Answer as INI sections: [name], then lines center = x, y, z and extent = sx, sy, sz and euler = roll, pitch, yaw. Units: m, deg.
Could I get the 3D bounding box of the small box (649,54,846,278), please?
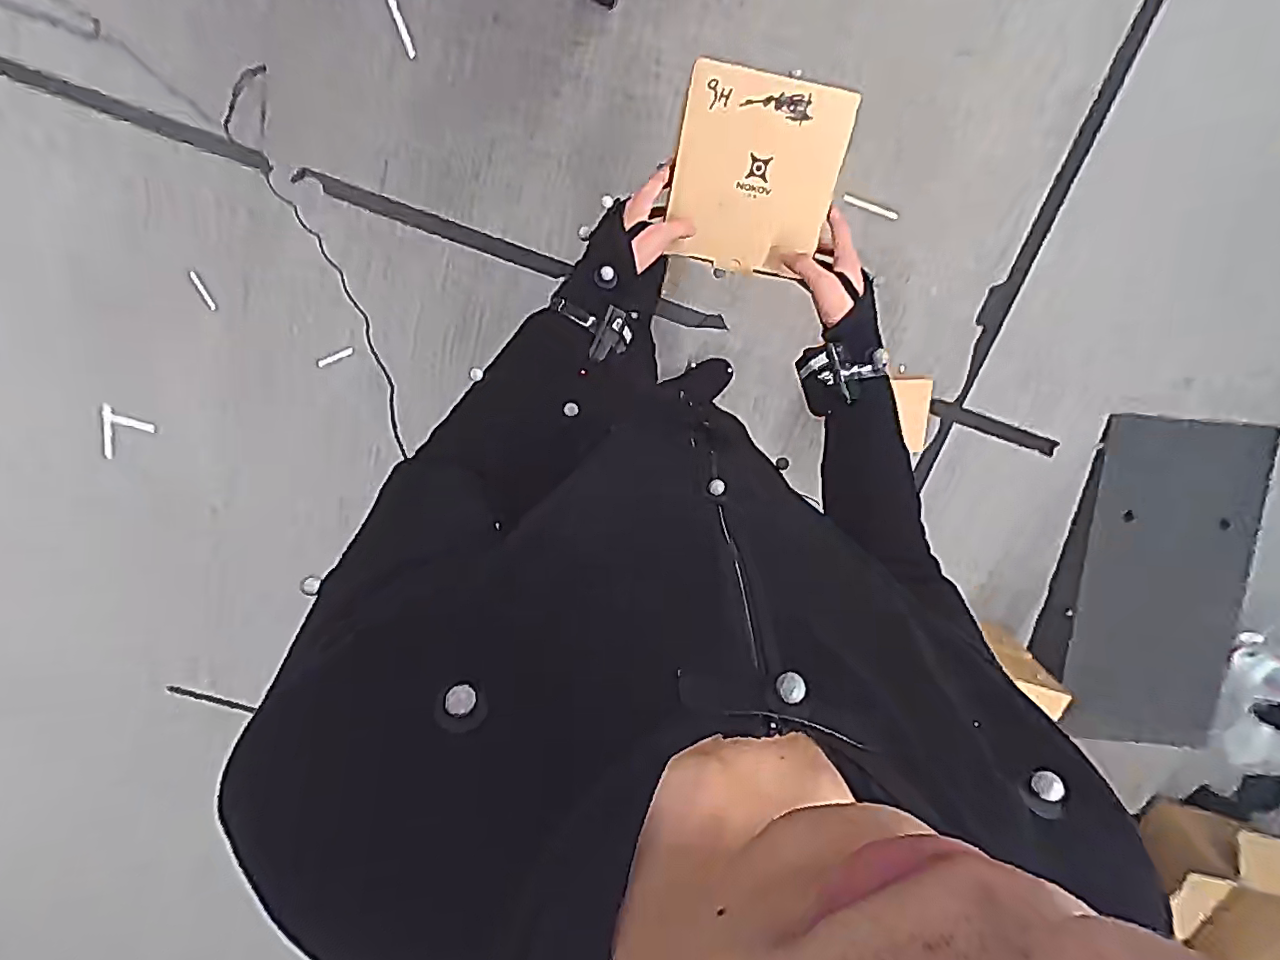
[small box]
center = 0.107, -0.346, 0.622
extent = 0.168, 0.176, 0.179
euler = 9, 115, -4
